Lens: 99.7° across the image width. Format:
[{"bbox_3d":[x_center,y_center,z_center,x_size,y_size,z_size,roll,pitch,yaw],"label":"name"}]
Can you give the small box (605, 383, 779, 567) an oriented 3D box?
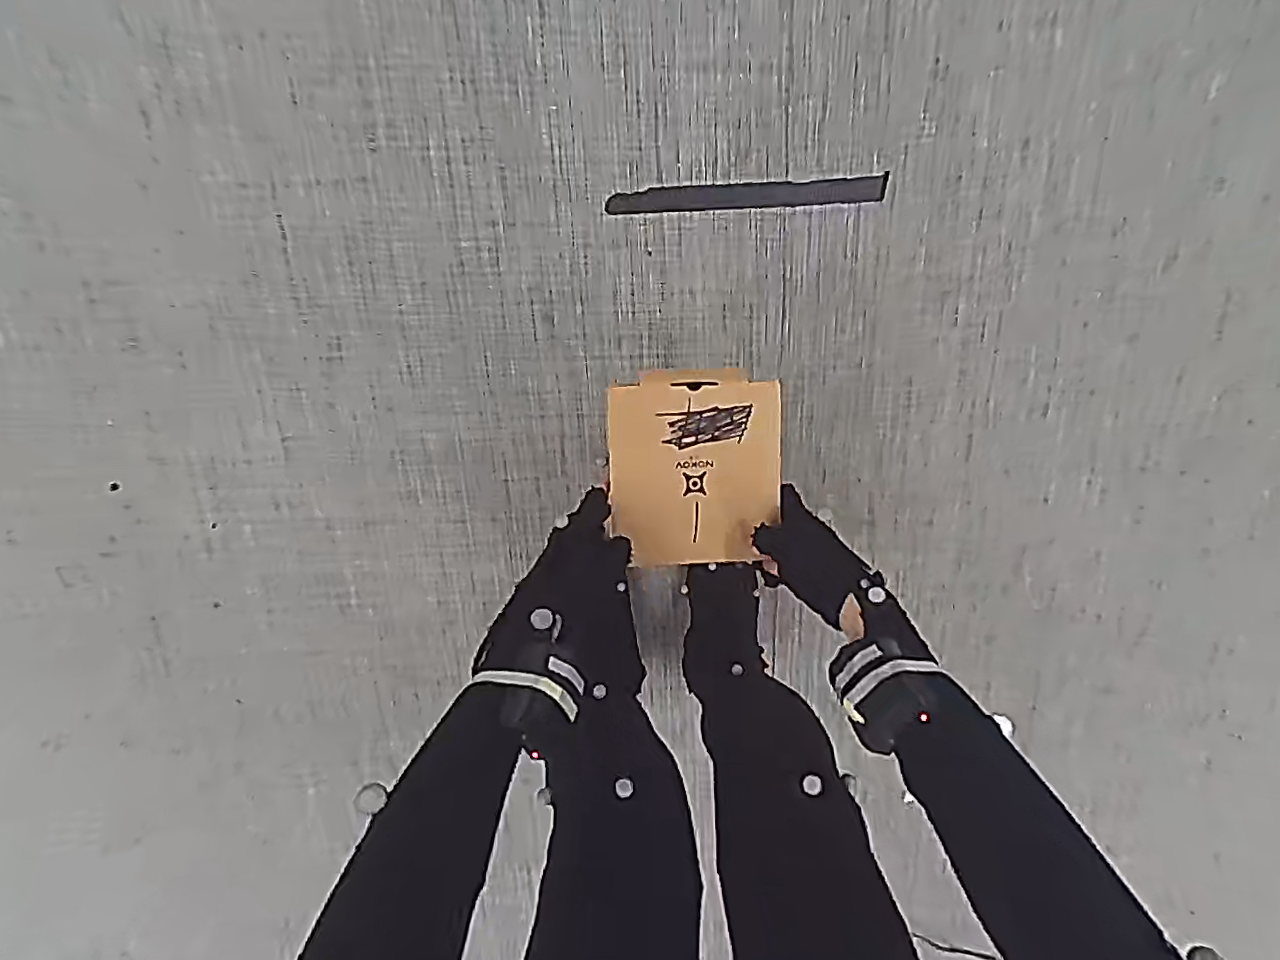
[{"bbox_3d":[0.047,-0.013,0.597,0.168,0.176,0.179,-2,98,-3],"label":"small box"}]
